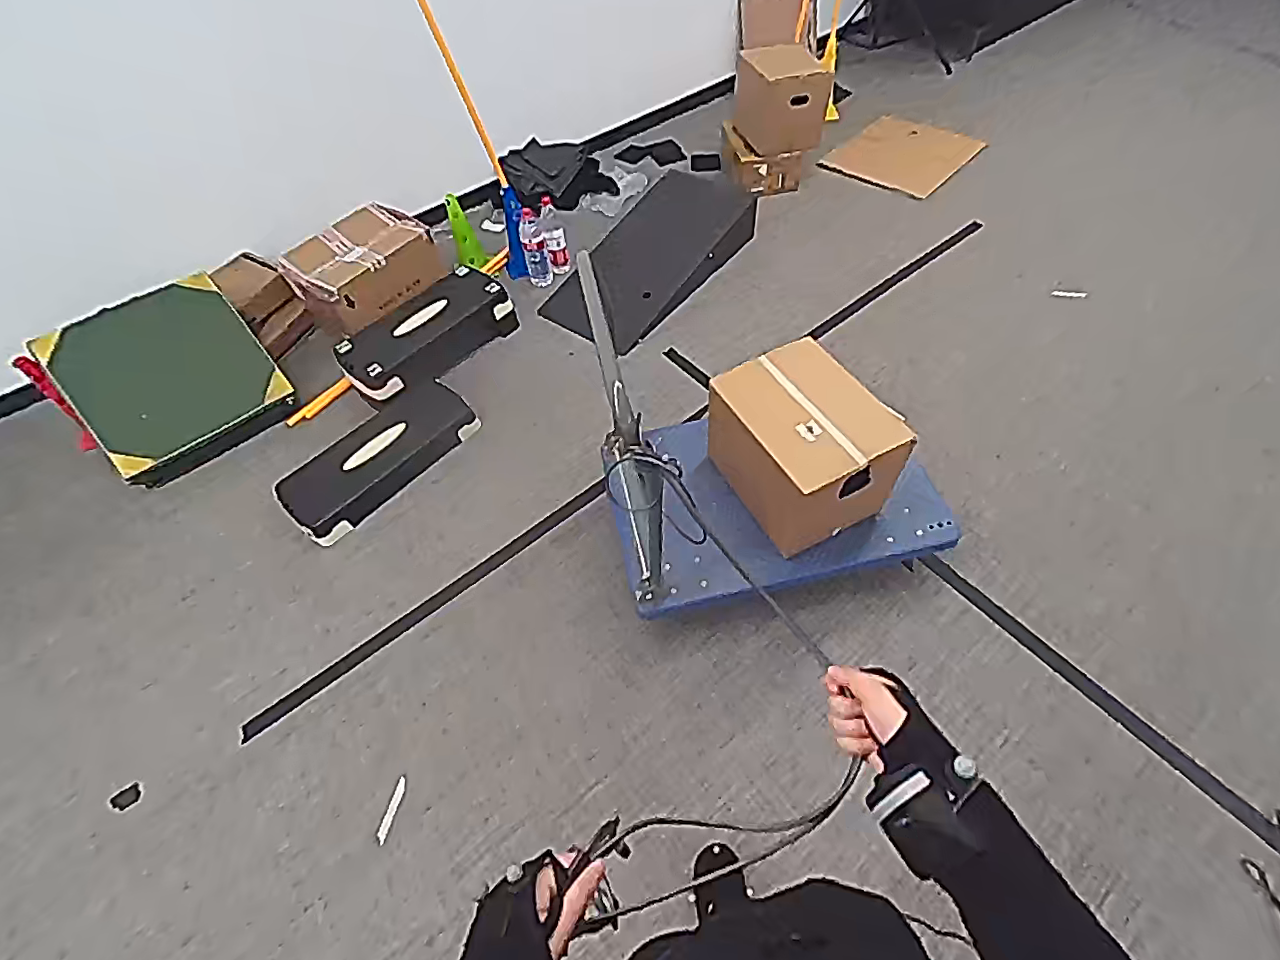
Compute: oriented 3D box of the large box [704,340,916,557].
[{"bbox_3d":[0.402,-0.083,1.401,0.320,0.320,0.408,-26,58,-11],"label":"large box"}]
